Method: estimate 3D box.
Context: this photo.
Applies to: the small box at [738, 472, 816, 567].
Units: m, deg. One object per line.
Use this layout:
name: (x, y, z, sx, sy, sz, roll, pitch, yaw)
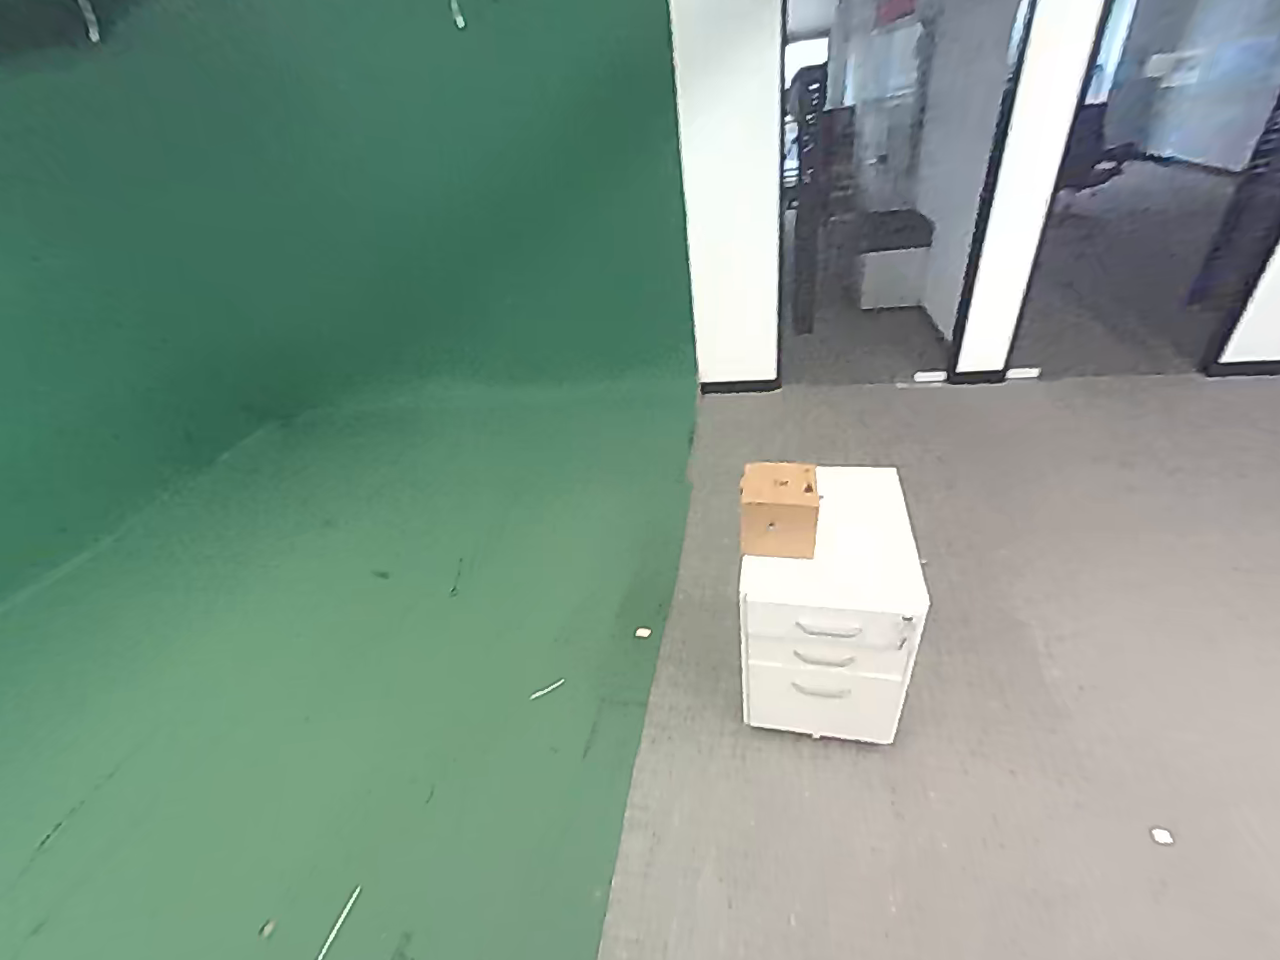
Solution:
small box: (0.335, 0.096, 1.325, 0.179, 0.176, 0.168, 2, 35, 14)
